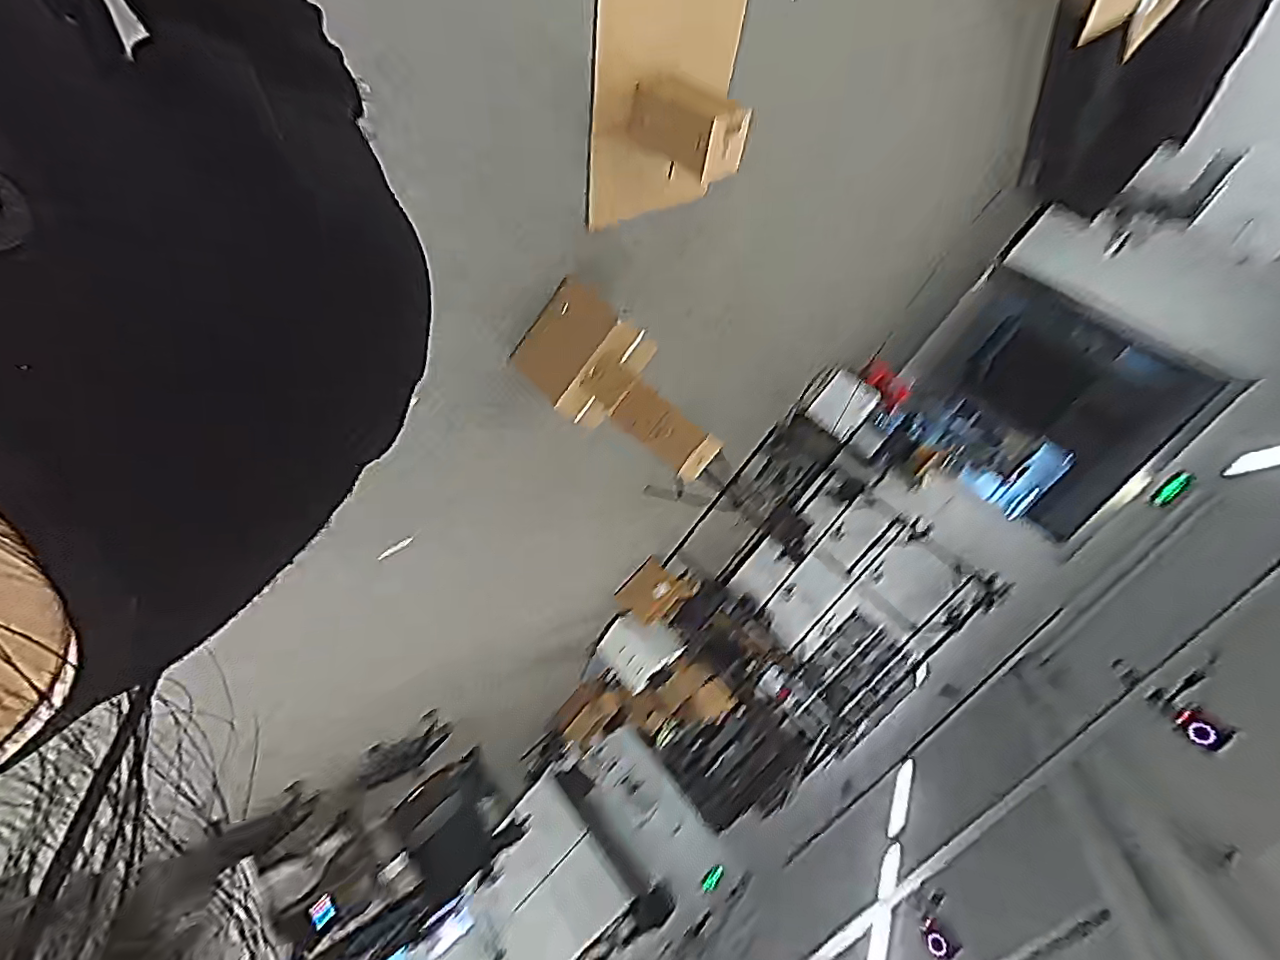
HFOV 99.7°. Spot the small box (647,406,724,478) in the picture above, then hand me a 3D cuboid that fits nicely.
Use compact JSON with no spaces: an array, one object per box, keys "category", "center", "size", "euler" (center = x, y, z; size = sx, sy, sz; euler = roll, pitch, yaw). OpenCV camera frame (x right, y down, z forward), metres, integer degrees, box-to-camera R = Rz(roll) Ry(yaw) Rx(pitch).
[{"category":"small box","center":[0.155,-0.130,1.853],"size":[0.168,0.176,0.179],"euler":[-51,156,9]}]

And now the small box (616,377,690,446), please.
[{"category":"small box","center":[0.039,-0.233,1.910],"size":[0.179,0.176,0.168],"euler":[-53,156,11]}]

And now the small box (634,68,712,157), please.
[{"category":"small box","center":[0.098,-1.163,1.709],"size":[0.168,0.176,0.179],"euler":[-33,154,-27]}]

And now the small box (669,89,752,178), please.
[{"category":"small box","center":[0.206,-1.058,1.642],"size":[0.168,0.176,0.179],"euler":[-32,154,-27]}]
